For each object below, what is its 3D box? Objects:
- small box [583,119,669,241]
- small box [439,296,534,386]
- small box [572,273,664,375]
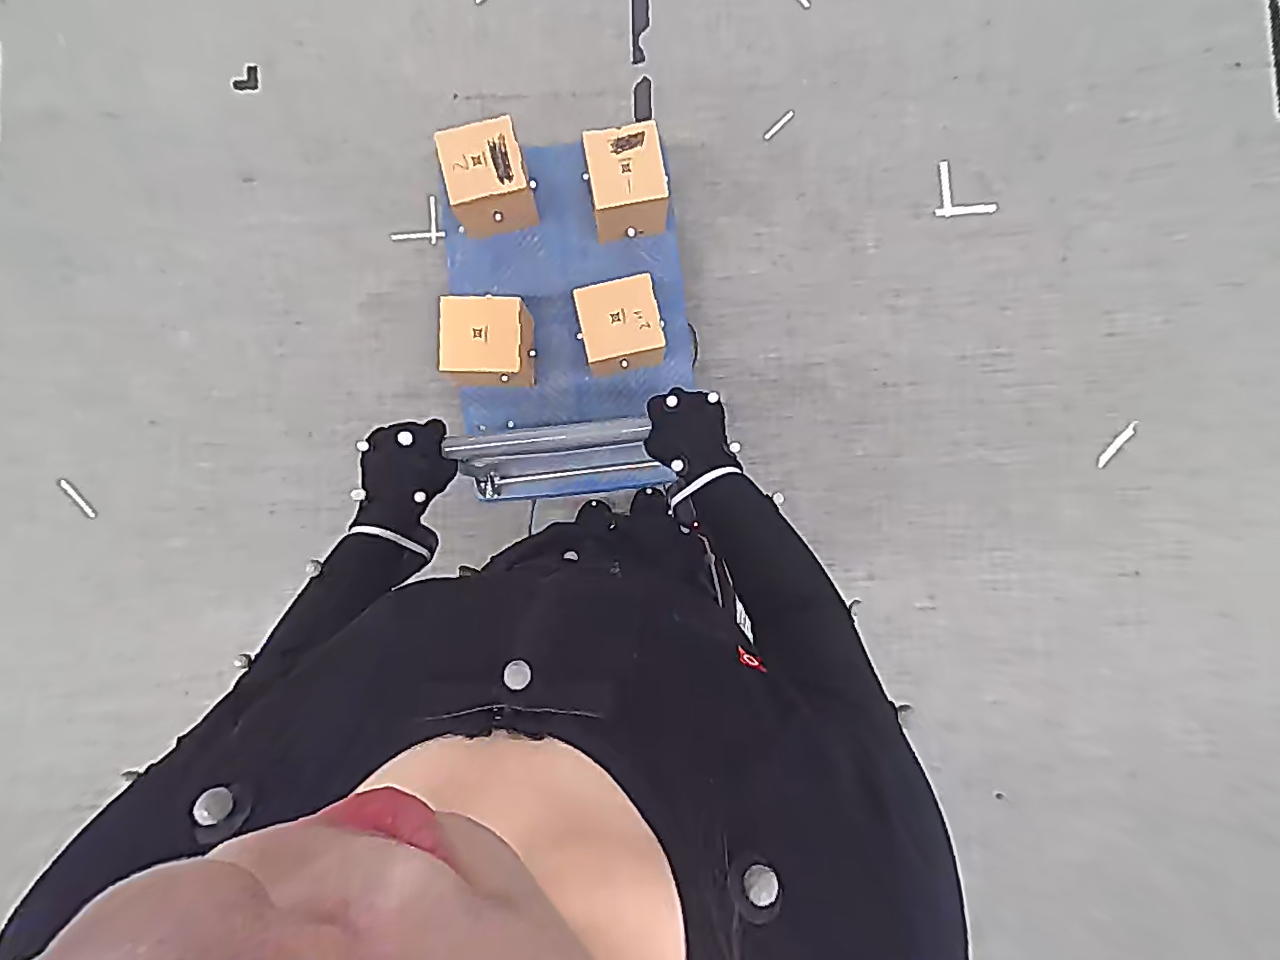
[{"bbox_3d":[-0.033,-0.688,1.256,0.168,0.176,0.179,-10,90,0],"label":"small box"},{"bbox_3d":[-0.347,-0.315,1.250,0.179,0.176,0.168,0,89,-2],"label":"small box"},{"bbox_3d":[-0.046,-0.351,1.250,0.179,0.176,0.168,-13,89,0],"label":"small box"}]
